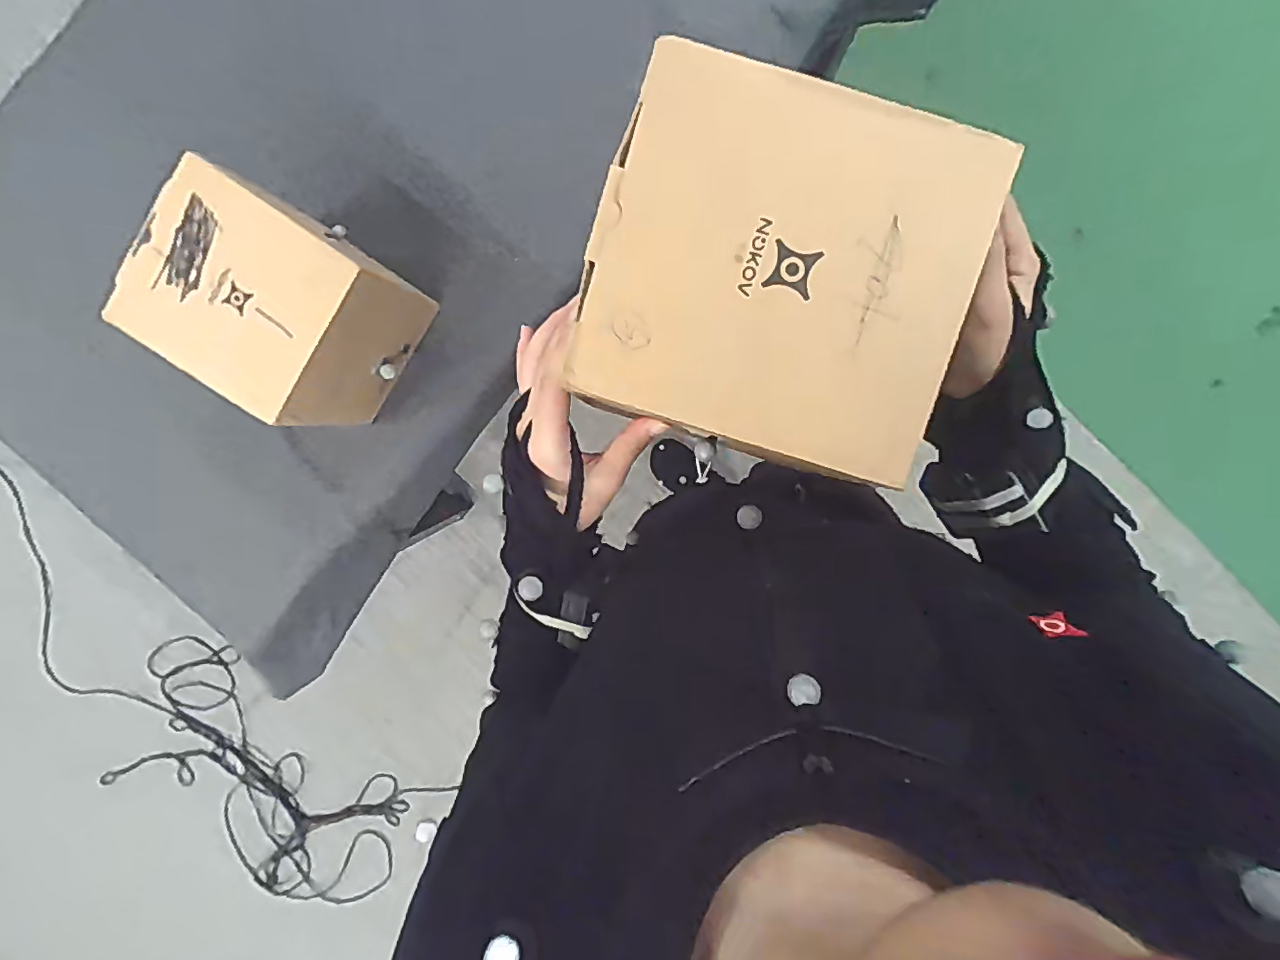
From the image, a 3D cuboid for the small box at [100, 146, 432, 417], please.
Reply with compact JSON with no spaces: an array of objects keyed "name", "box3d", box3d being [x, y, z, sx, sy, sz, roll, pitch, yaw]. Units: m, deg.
[{"name":"small box","box3d":[-0.349,-0.176,0.541,0.179,0.176,0.168,34,98,-3]}]
